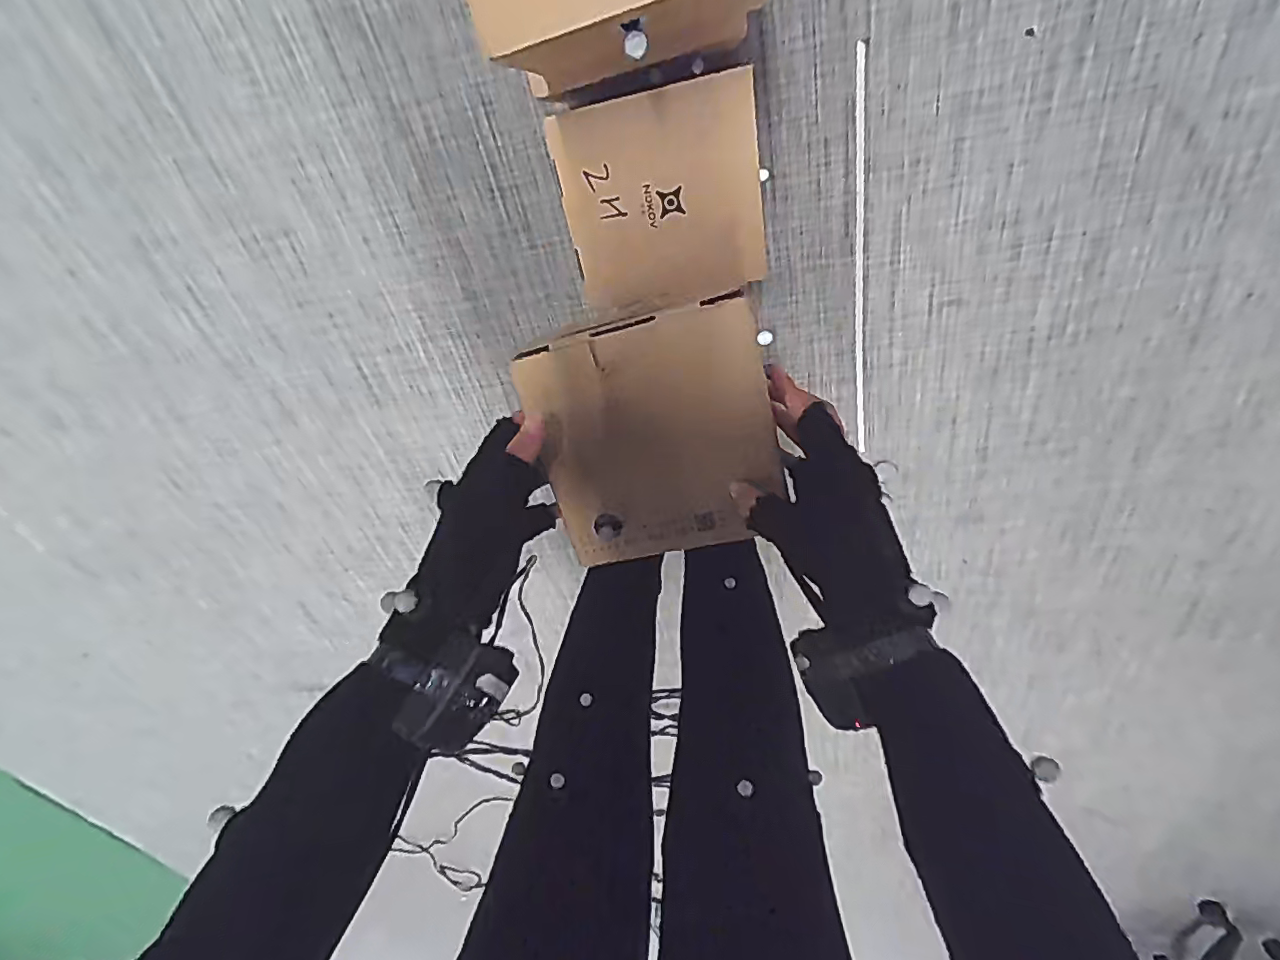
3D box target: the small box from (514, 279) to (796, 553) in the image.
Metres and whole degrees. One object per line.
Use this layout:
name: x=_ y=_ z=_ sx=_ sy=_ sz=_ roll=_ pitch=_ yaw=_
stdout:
small box: x=0.025 y=-0.052 z=0.446 sx=0.168 sy=0.179 sz=0.176 roll=-12 pitch=111 yaw=13

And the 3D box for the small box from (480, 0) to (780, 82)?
small box: x=-0.008 y=-0.354 z=0.312 sx=0.179 sy=0.176 sz=0.168 roll=-10 pitch=123 yaw=12
